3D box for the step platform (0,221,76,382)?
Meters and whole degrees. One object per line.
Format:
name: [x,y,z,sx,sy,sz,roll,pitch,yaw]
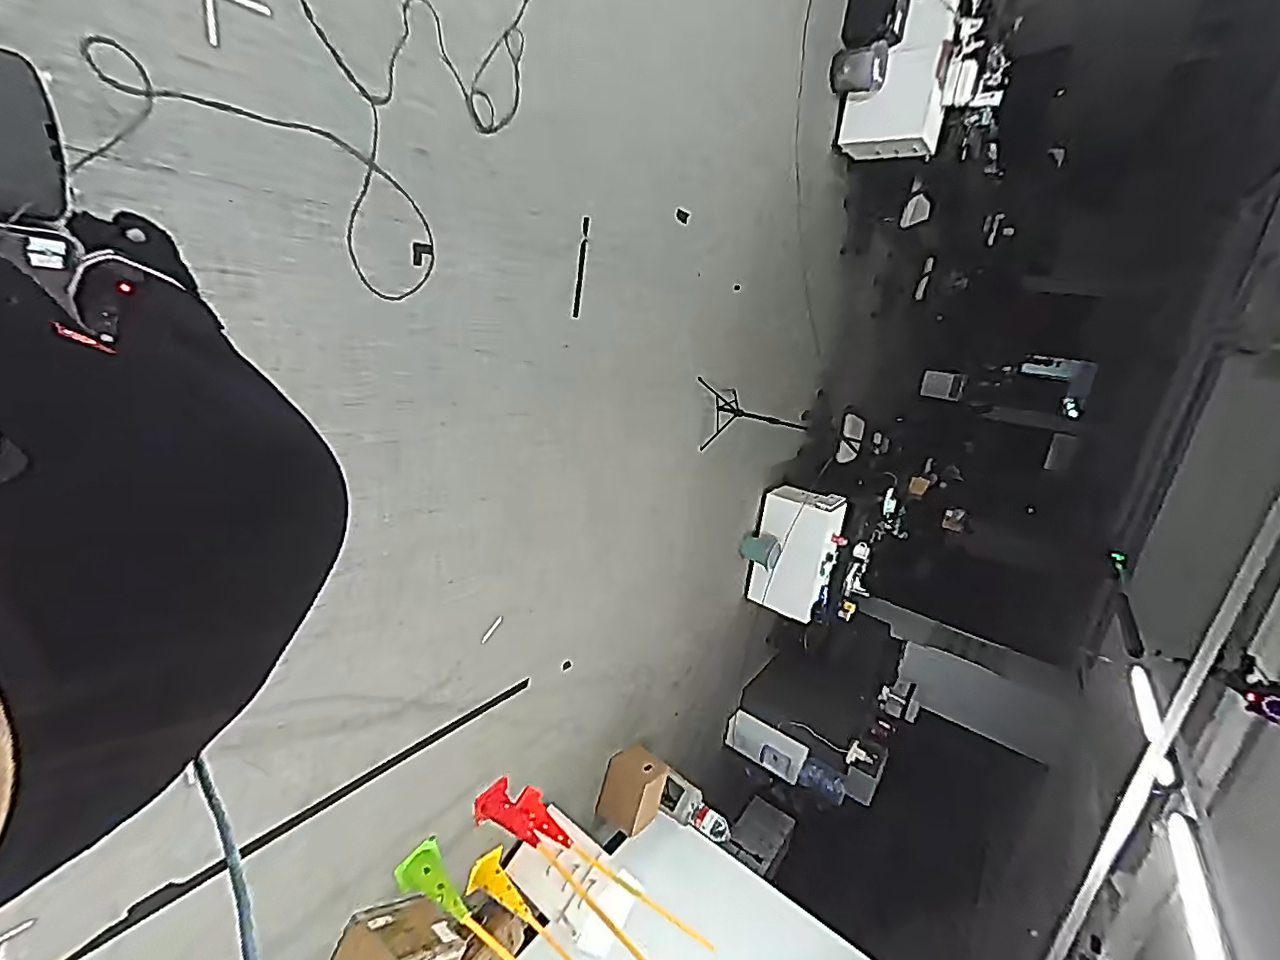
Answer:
step platform: [-1.356,-0.291,0.825,0.684,0.204,0.286,-16,118,-50]
